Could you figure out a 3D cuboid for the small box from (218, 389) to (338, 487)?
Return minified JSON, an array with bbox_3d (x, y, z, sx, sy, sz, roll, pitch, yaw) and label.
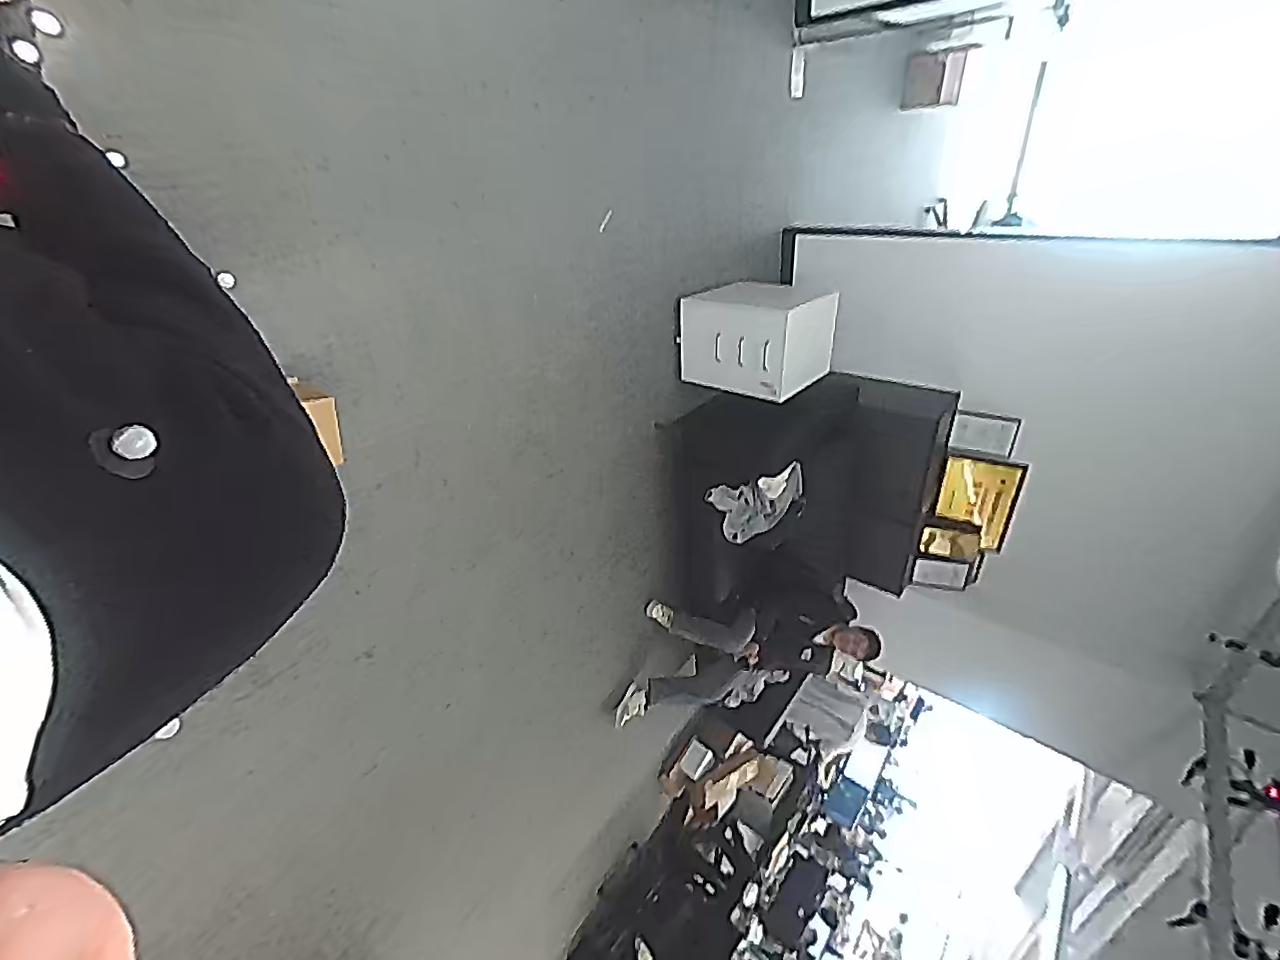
[{"bbox_3d":[-0.820,-0.102,1.223,0.179,0.176,0.168,-23,125,-48],"label":"small box"}]
